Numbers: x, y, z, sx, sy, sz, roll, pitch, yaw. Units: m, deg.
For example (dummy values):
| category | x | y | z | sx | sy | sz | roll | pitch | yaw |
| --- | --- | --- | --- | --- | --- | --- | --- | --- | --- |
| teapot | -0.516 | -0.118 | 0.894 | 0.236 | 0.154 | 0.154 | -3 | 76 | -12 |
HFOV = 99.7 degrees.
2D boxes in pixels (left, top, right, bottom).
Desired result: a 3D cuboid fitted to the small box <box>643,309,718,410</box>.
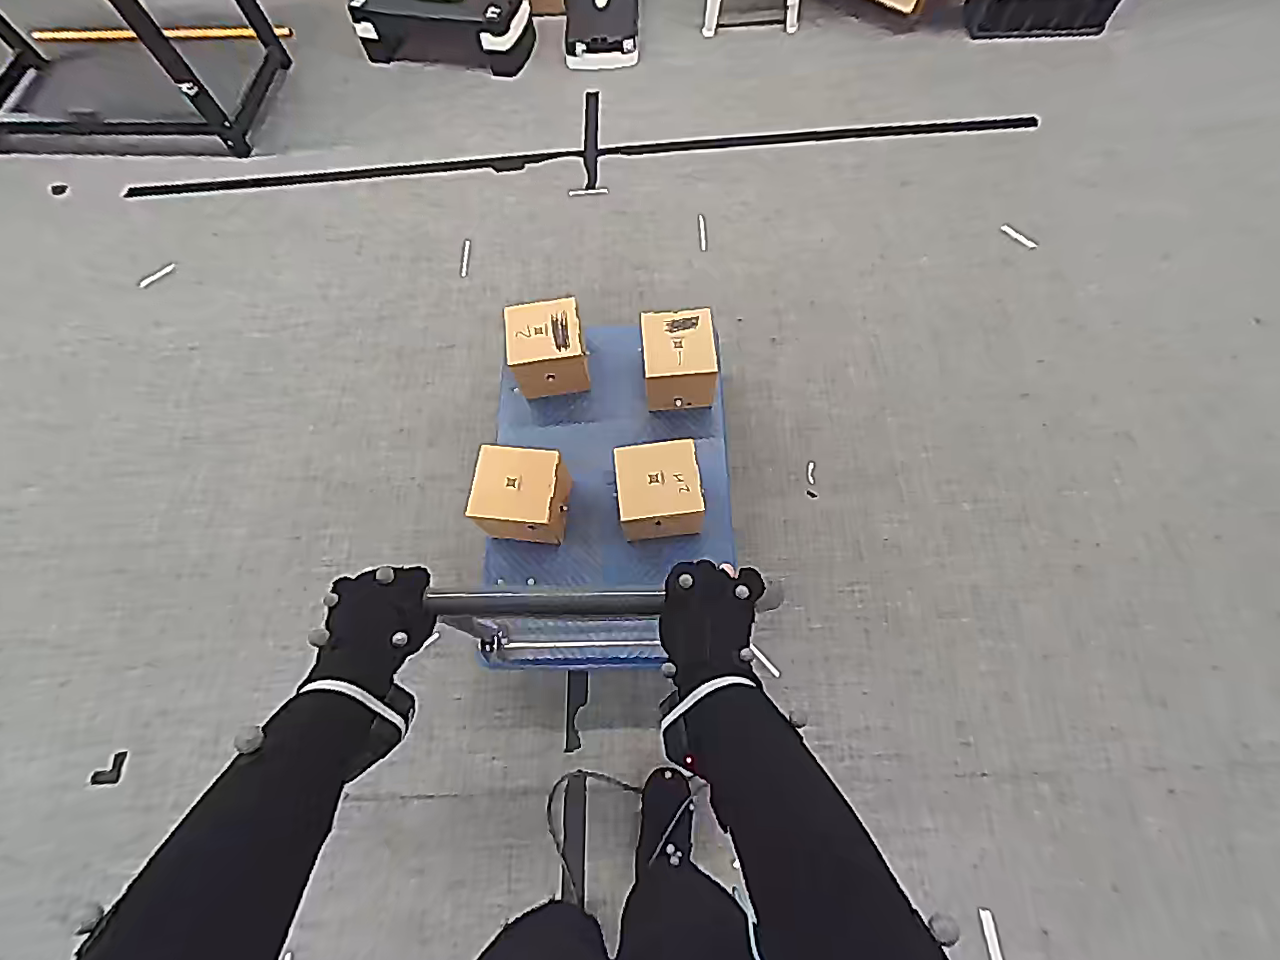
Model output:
| category | x | y | z | sx | sy | sz | roll | pitch | yaw |
| --- | --- | --- | --- | --- | --- | --- | --- | --- | --- |
| small box | 0.093 | -0.287 | 1.309 | 0.168 | 0.176 | 0.179 | -4 | 70 | 2 |

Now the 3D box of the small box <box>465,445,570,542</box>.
| category | x | y | z | sx | sy | sz | roll | pitch | yaw |
| --- | --- | --- | --- | --- | --- | --- | --- | --- | --- |
| small box | -0.263 | 0.036 | 1.207 | 0.179 | 0.176 | 0.168 | 5 | 69 | 3 |

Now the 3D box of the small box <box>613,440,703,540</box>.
| category | x | y | z | sx | sy | sz | roll | pitch | yaw |
| --- | --- | --- | --- | --- | --- | --- | --- | --- | --- |
| small box | 0.041 | 0.028 | 1.194 | 0.179 | 0.176 | 0.168 | -7 | 69 | 1 |
